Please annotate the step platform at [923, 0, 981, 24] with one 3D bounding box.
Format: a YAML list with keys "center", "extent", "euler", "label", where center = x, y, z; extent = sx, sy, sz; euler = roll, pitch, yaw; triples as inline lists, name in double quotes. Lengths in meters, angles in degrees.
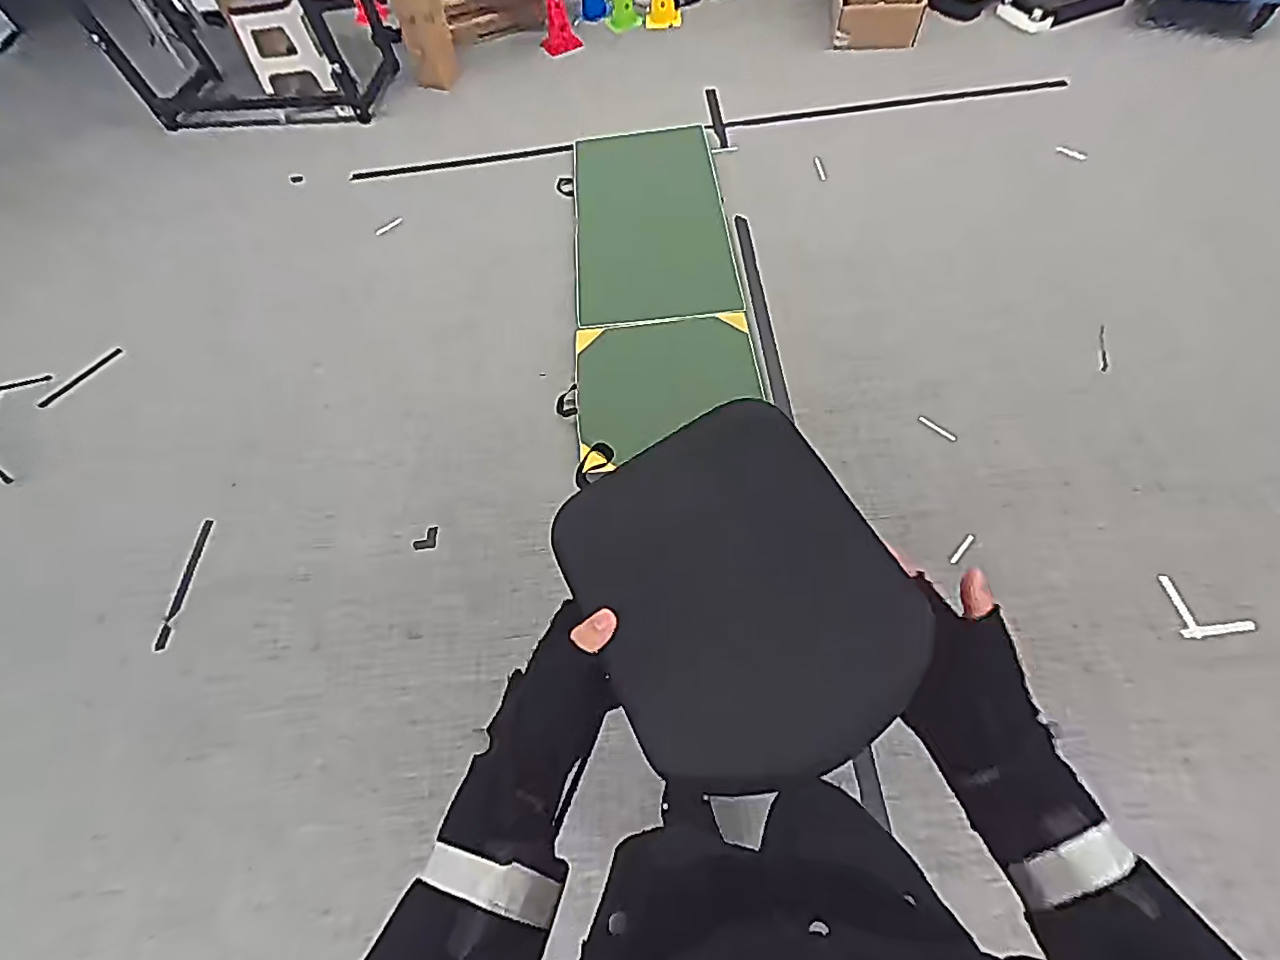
- center: [1.856, -2.671, 2.852]
  extent: [0.684, 0.204, 0.286]
  euler: [-32, 63, -11]
  label: "step platform"
